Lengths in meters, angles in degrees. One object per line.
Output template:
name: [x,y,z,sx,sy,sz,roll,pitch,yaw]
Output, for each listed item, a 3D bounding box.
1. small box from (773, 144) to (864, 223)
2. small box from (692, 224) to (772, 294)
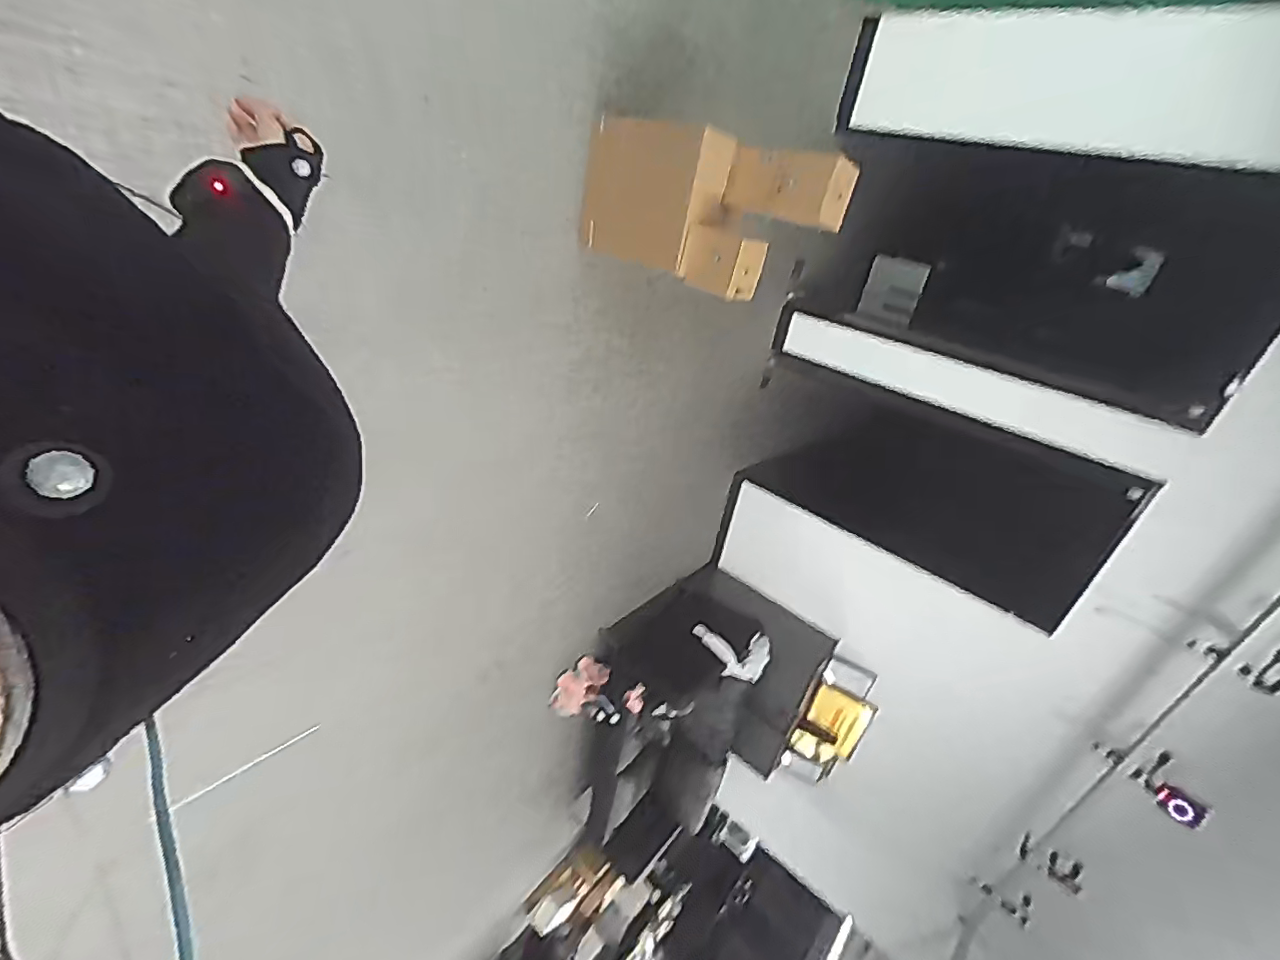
small box: [0.520,-0.869,1.586,0.179,0.176,0.168,-15,126,-48]
small box: [0.285,-0.697,1.702,0.168,0.176,0.179,-17,128,-45]
